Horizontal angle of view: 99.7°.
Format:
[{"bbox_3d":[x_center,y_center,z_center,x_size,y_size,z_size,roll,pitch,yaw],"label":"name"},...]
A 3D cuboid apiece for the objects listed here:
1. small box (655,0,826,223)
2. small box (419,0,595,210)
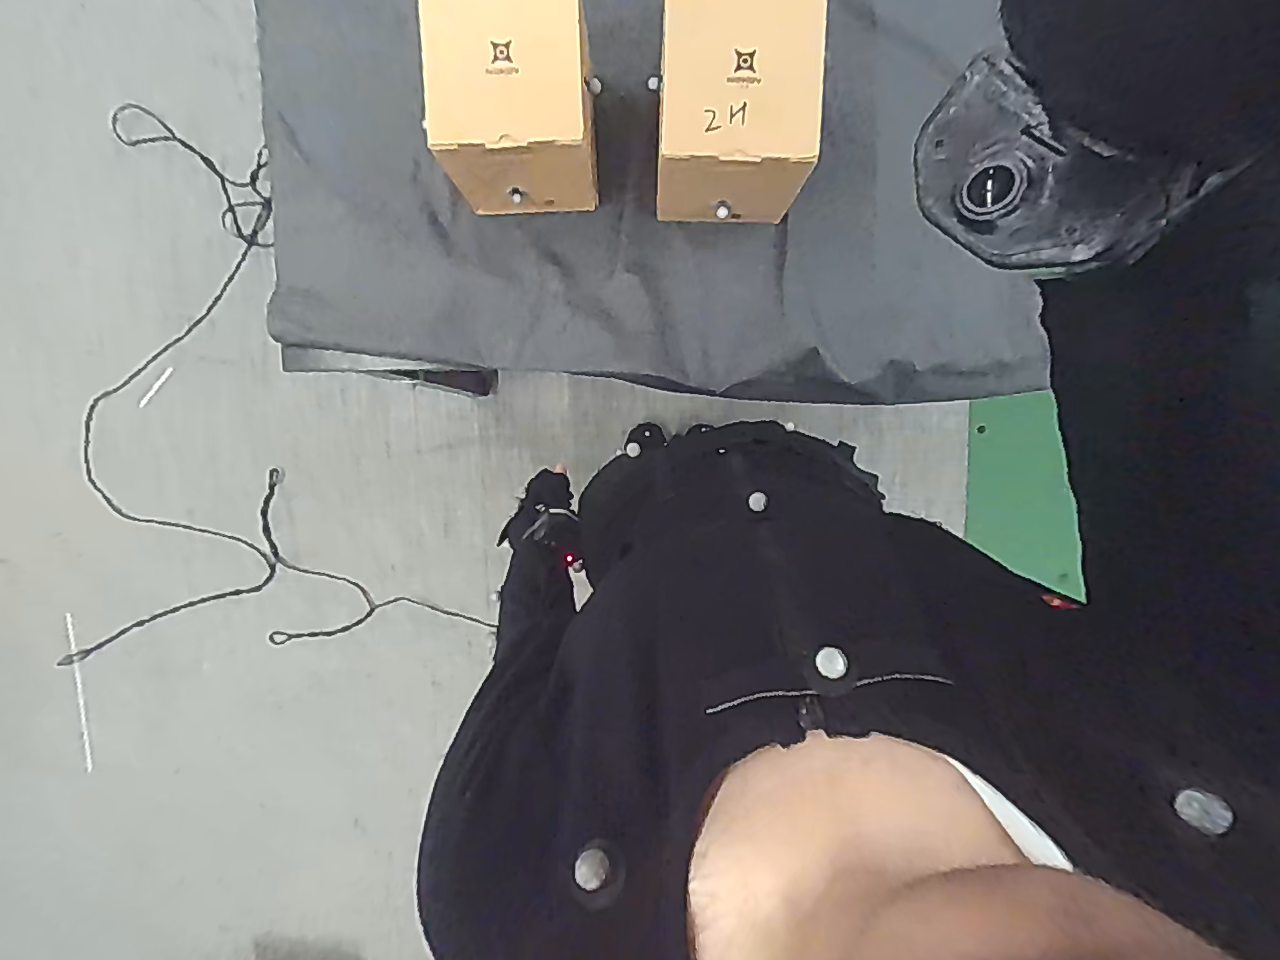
[{"bbox_3d":[0.104,-0.427,0.632,0.168,0.176,0.179,2,95,0],"label":"small box"},{"bbox_3d":[-0.143,-0.442,0.634,0.168,0.176,0.179,-2,95,0],"label":"small box"}]
